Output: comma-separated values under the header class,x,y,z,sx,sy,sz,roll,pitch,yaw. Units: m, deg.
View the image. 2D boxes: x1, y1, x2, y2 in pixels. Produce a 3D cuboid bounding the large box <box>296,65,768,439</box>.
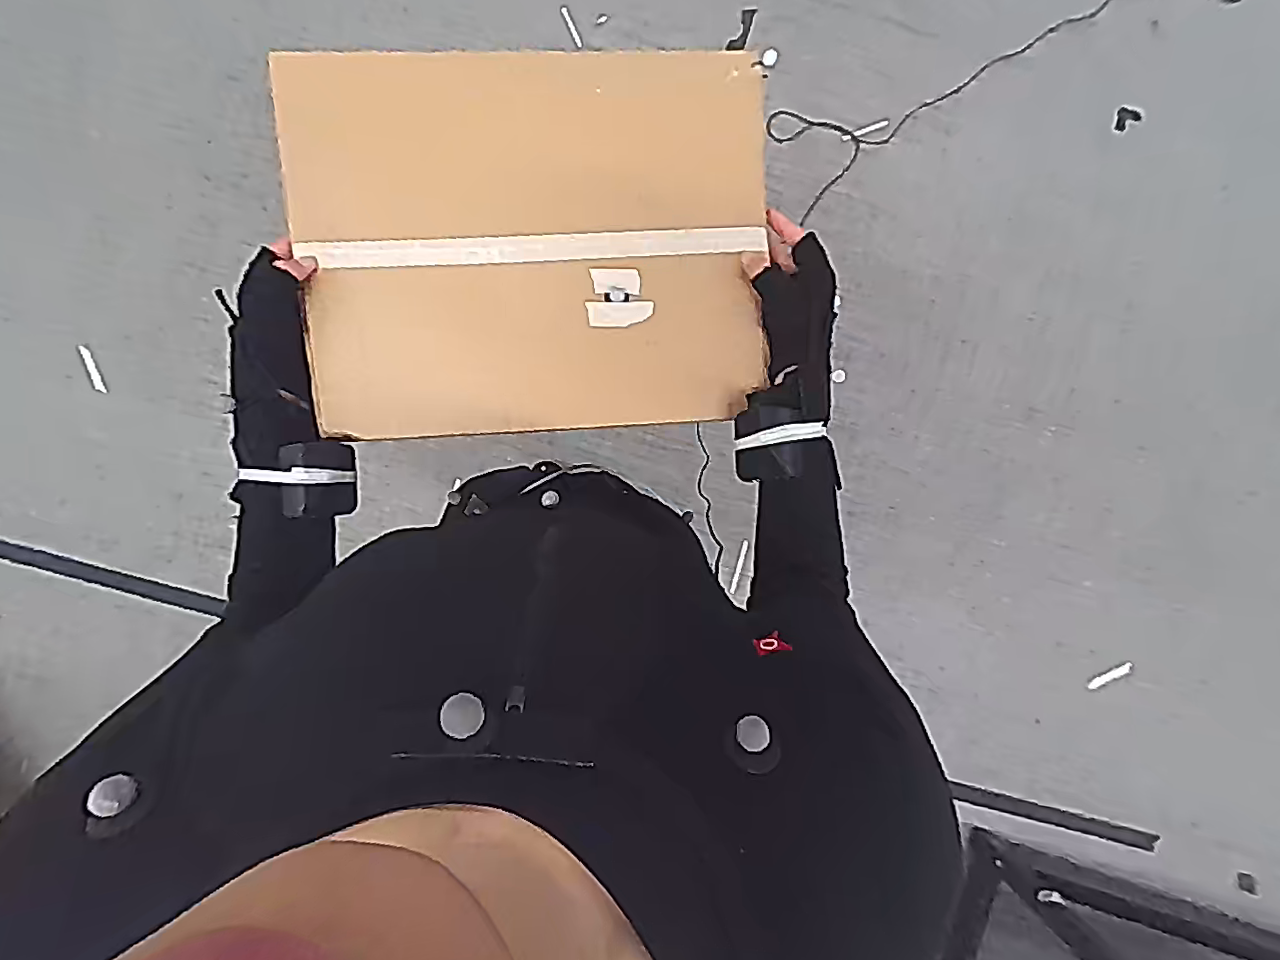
class,x,y,z,sx,sy,sz,roll,pitch,yaw
large box,-0.097,-0.223,0.631,0.408,0.320,0.320,-3,99,-5
